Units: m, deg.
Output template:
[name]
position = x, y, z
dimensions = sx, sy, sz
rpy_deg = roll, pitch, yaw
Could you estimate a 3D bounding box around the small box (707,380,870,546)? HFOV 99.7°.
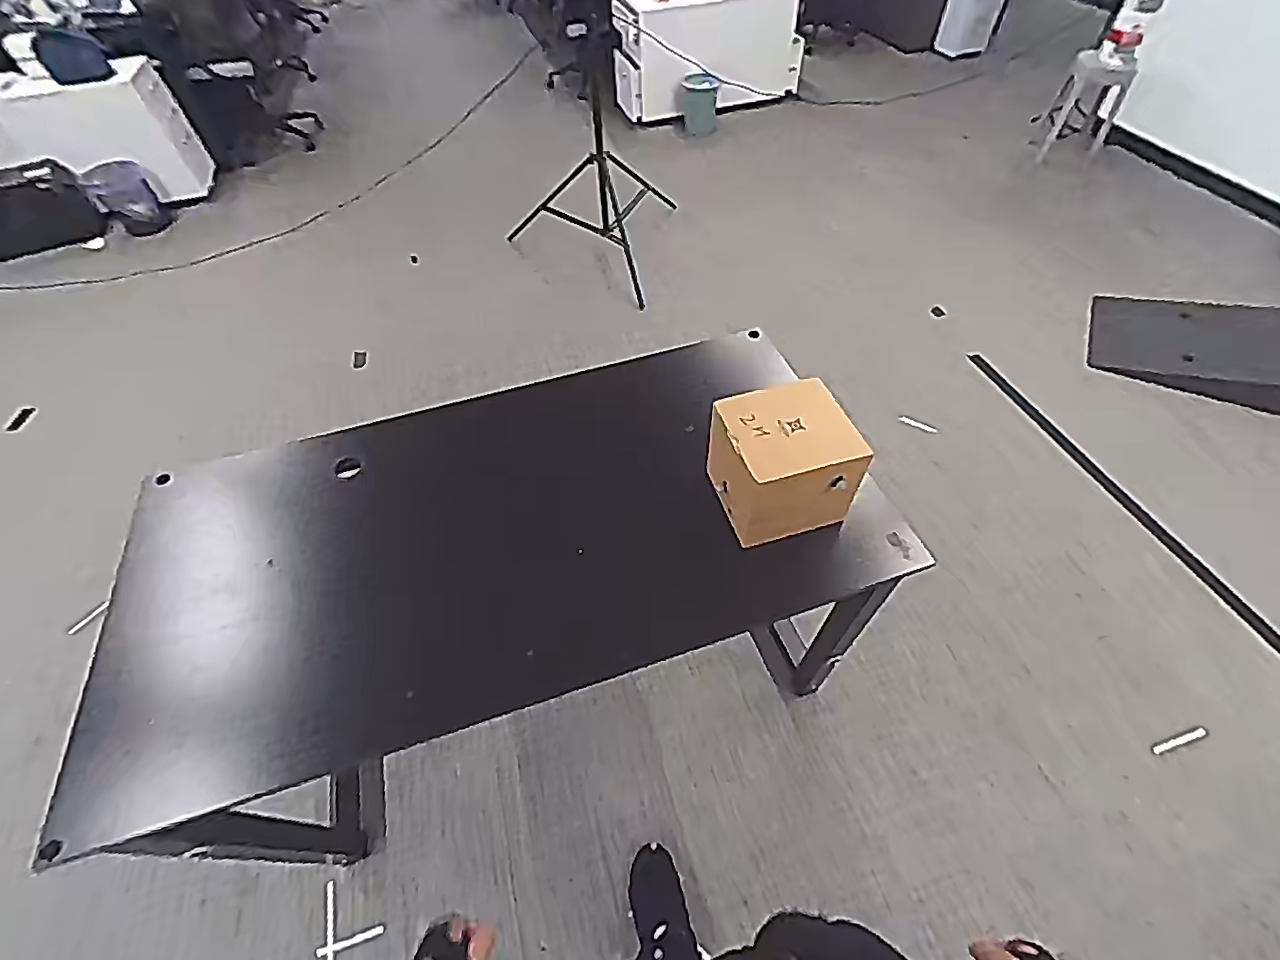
[small box]
position = 0.213, -0.023, 0.833
dimensions = 0.179, 0.176, 0.168
rpy_deg = -15, 53, -7
